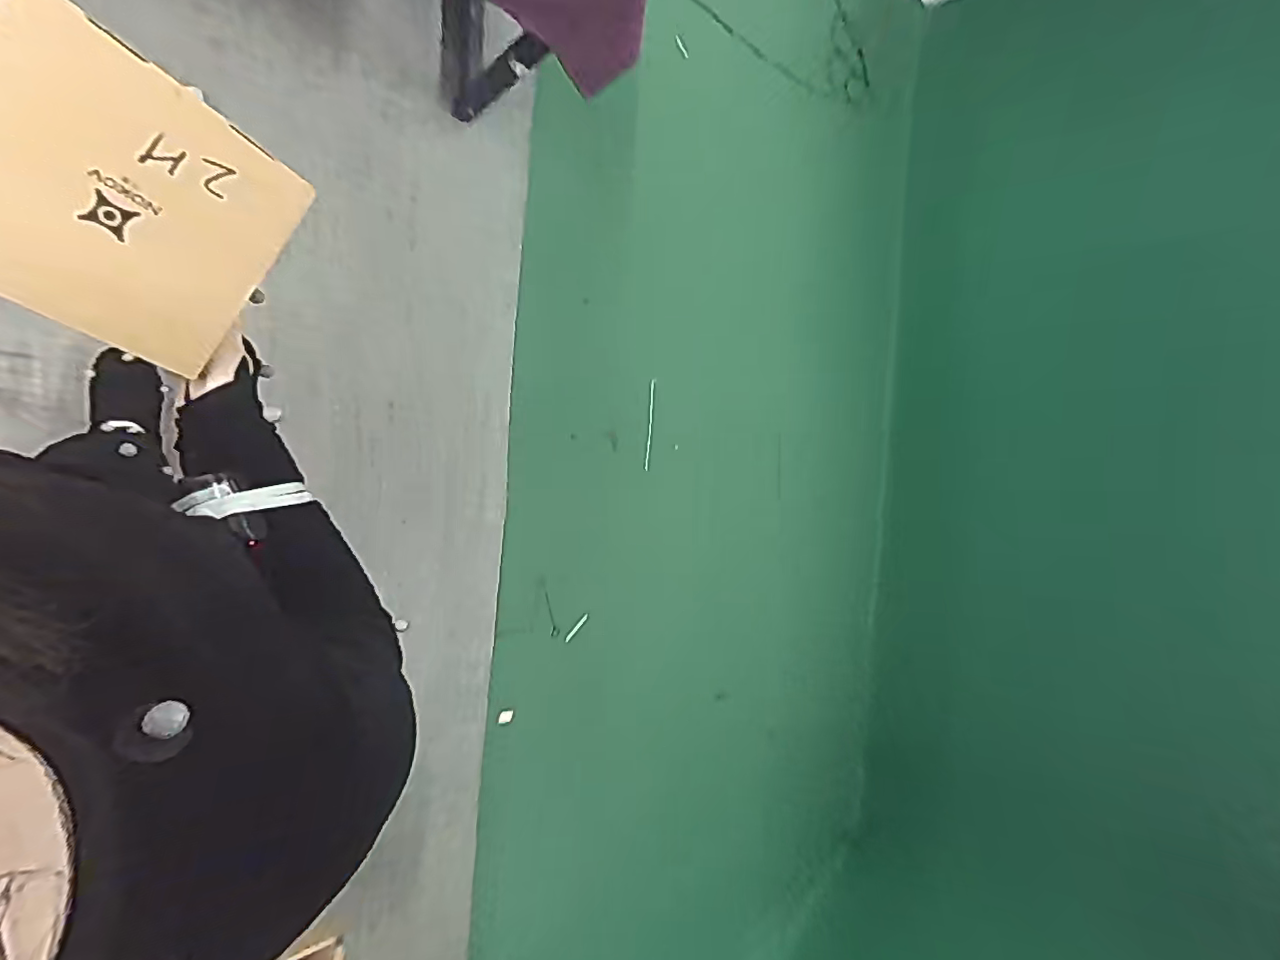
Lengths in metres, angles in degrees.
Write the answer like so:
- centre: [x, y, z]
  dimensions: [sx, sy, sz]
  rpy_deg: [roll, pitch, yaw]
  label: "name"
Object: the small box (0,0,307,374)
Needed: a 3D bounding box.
- centre: [-0.387, -0.211, 0.402]
  dimensions: [0.168, 0.176, 0.179]
  rpy_deg: [31, 91, -47]
  label: "small box"
